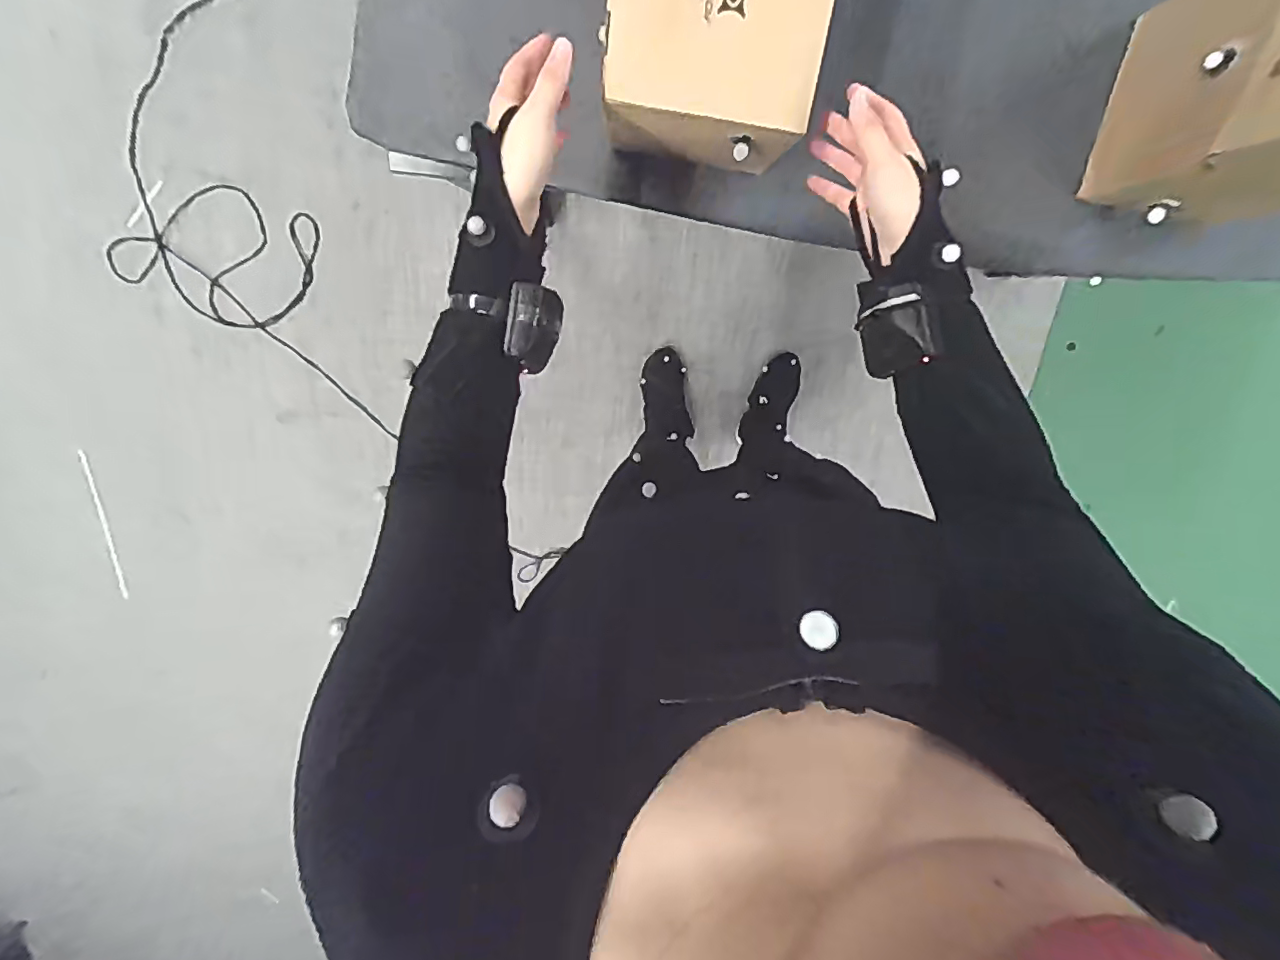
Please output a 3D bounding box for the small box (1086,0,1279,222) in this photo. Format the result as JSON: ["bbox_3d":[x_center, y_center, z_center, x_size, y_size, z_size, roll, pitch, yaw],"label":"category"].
[{"bbox_3d":[0.583,-0.359,0.511,0.168,0.176,0.179,7,109,-1],"label":"small box"}]

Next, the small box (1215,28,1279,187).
[{"bbox_3d":[0.581,-0.293,0.362,0.179,0.176,0.168,17,108,-4],"label":"small box"}]

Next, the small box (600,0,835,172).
[{"bbox_3d":[0.064,-0.398,0.497,0.179,0.176,0.168,8,109,-2],"label":"small box"}]
